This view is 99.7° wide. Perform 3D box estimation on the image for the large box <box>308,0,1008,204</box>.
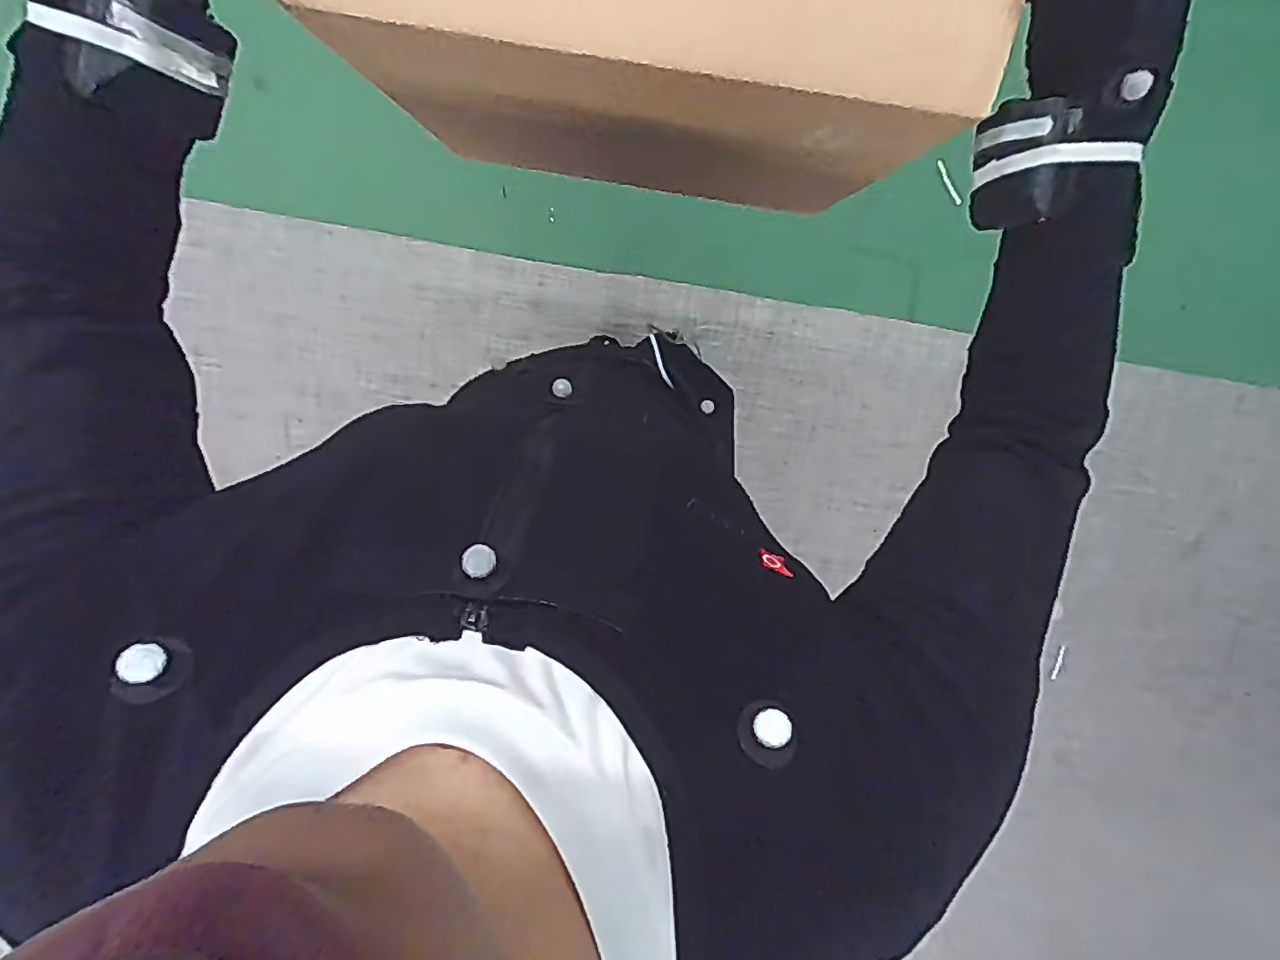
[{"bbox_3d":[0.023,-0.431,0.412,0.408,0.320,0.320,8,108,-2],"label":"large box"}]
